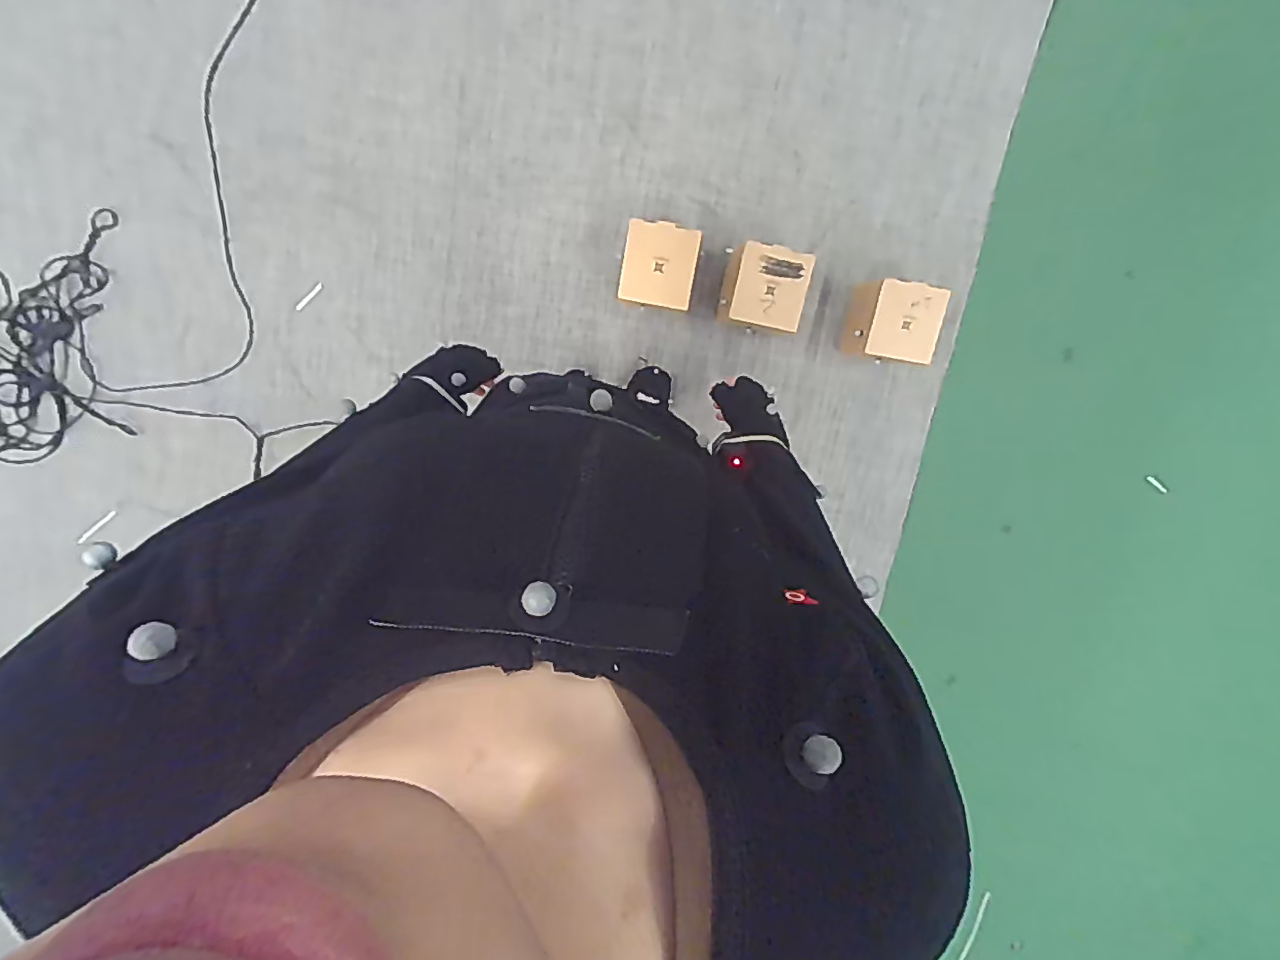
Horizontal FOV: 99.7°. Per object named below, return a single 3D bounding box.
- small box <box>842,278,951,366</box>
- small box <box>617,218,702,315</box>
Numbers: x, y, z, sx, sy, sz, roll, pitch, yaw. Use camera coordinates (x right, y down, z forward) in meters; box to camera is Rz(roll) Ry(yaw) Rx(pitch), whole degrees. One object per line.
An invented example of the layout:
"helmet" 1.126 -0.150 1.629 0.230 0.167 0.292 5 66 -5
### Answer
"small box" 0.620 -0.384 1.333 0.168 0.176 0.179 9 103 -5
"small box" 0.043 -0.498 1.287 0.168 0.176 0.179 9 102 -3
